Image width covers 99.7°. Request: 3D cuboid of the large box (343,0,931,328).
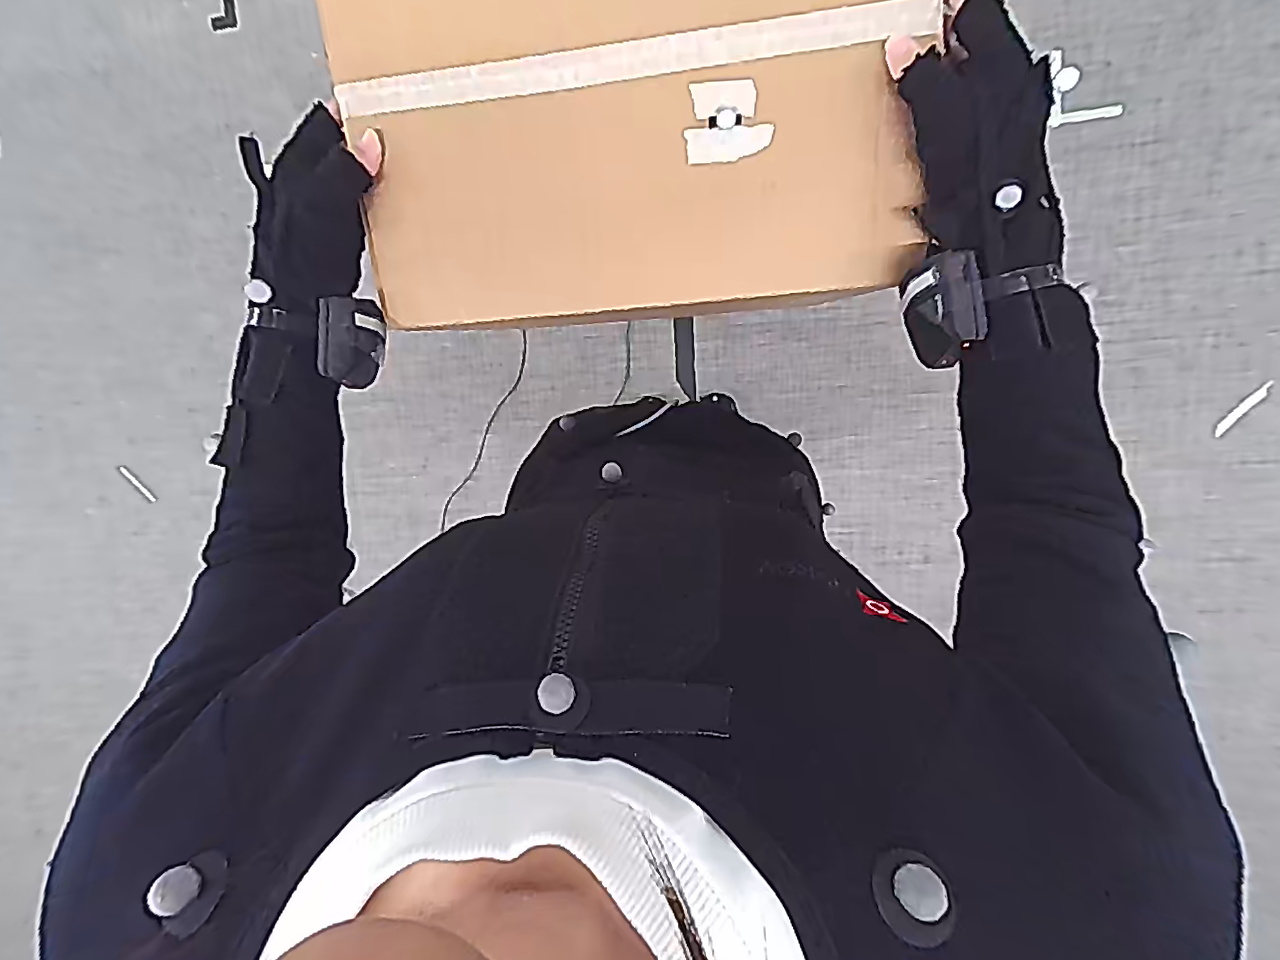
[{"bbox_3d":[0.005,-0.326,0.517,0.408,0.320,0.320,-4,106,6],"label":"large box"}]
